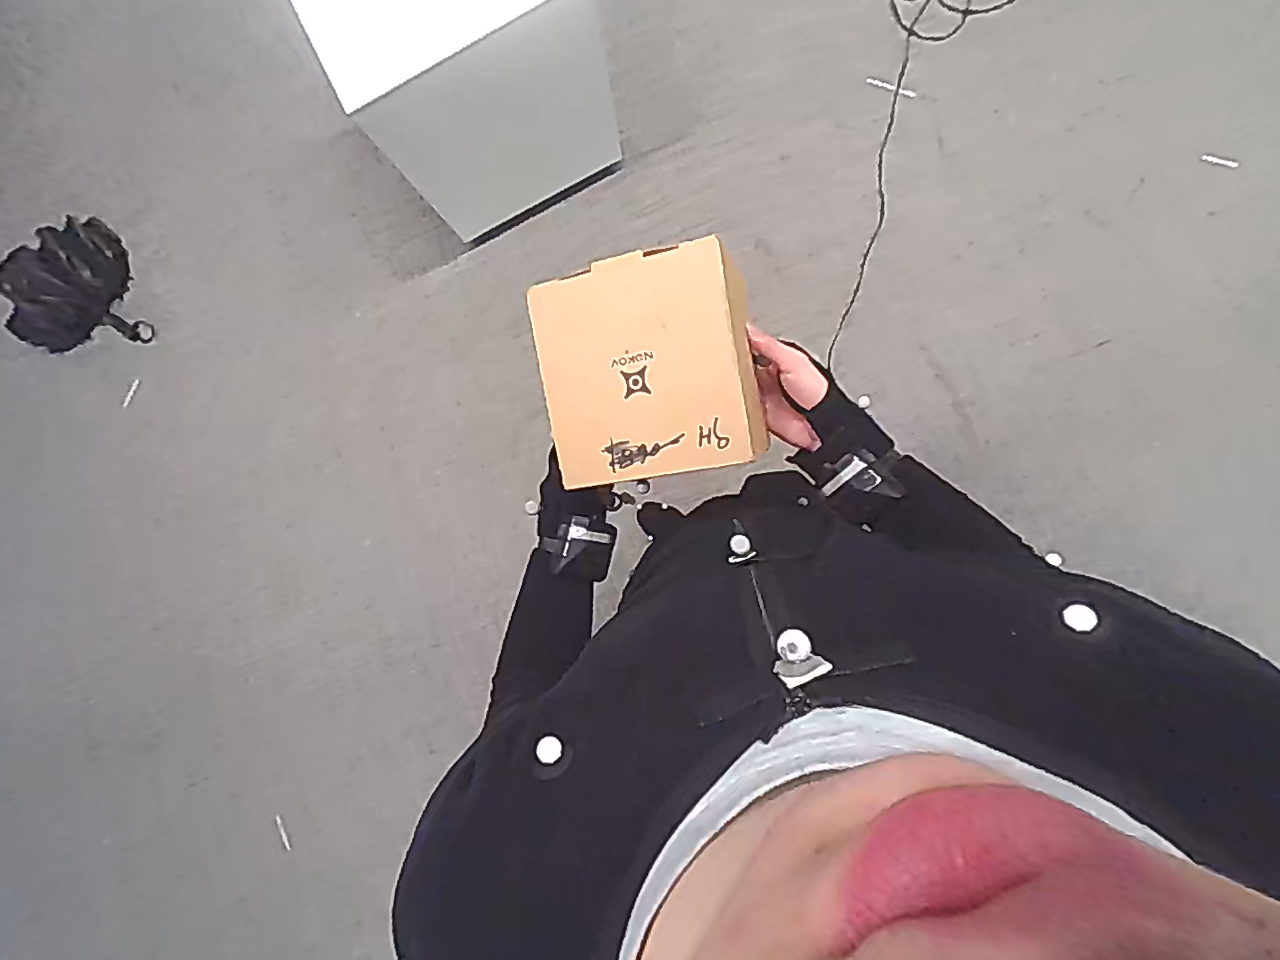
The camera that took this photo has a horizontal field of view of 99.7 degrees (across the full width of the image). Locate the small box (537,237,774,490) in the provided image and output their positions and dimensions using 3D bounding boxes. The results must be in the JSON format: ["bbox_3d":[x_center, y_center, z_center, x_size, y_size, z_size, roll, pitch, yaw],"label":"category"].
[{"bbox_3d":[0.027,-0.096,0.507,0.168,0.176,0.179,-9,95,19],"label":"small box"}]
